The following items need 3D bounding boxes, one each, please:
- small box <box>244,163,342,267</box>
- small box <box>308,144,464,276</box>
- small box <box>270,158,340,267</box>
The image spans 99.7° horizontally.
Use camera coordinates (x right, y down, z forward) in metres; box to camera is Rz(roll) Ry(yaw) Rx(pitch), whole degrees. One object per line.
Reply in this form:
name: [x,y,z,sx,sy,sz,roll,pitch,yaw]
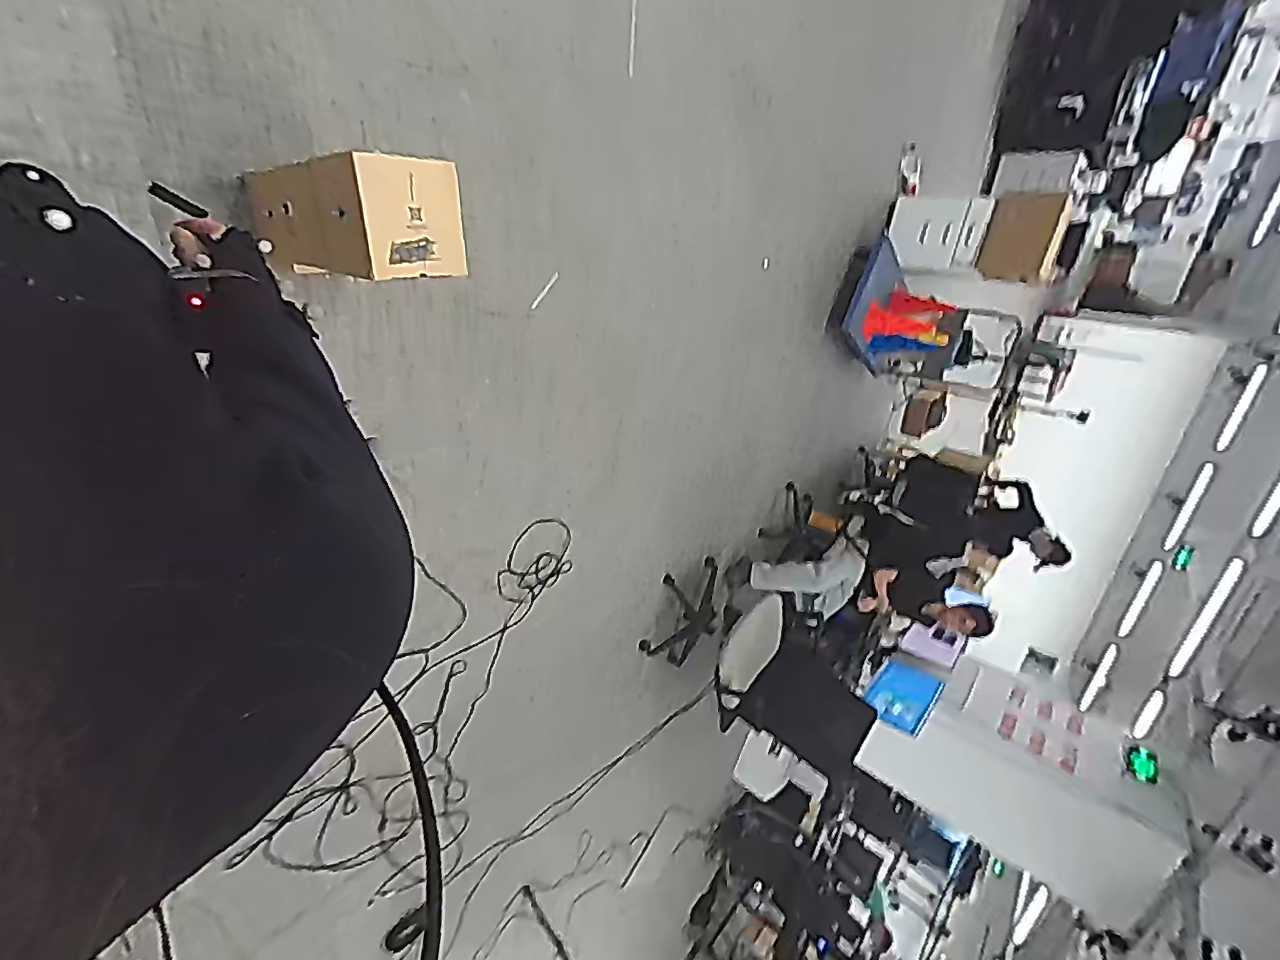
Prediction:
small box: [-0.665,-0.529,1.093,0.168,0.176,0.179,-25,126,-43]
small box: [-0.418,-0.441,0.897,0.168,0.176,0.179,-25,125,-43]
small box: [-0.539,-0.489,0.996,0.179,0.176,0.168,-25,126,-42]
